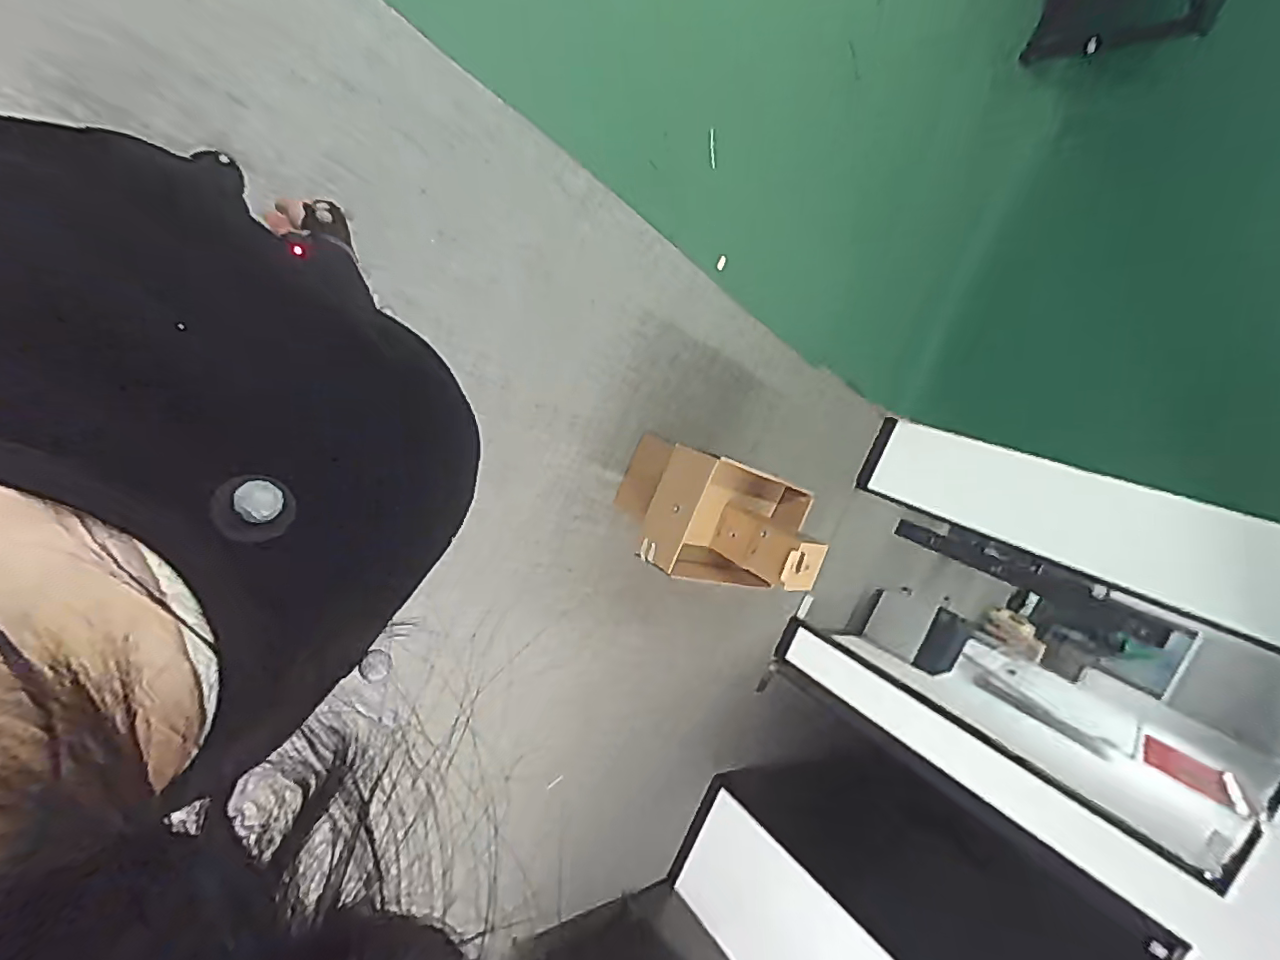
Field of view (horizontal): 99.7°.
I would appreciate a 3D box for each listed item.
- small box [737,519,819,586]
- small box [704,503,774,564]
[{"bbox_3d":[0.453,0.239,1.790,0.179,0.176,0.168,10,103,-43],"label":"small box"},{"bbox_3d":[0.355,0.191,1.914,0.179,0.176,0.168,13,102,-42],"label":"small box"}]
